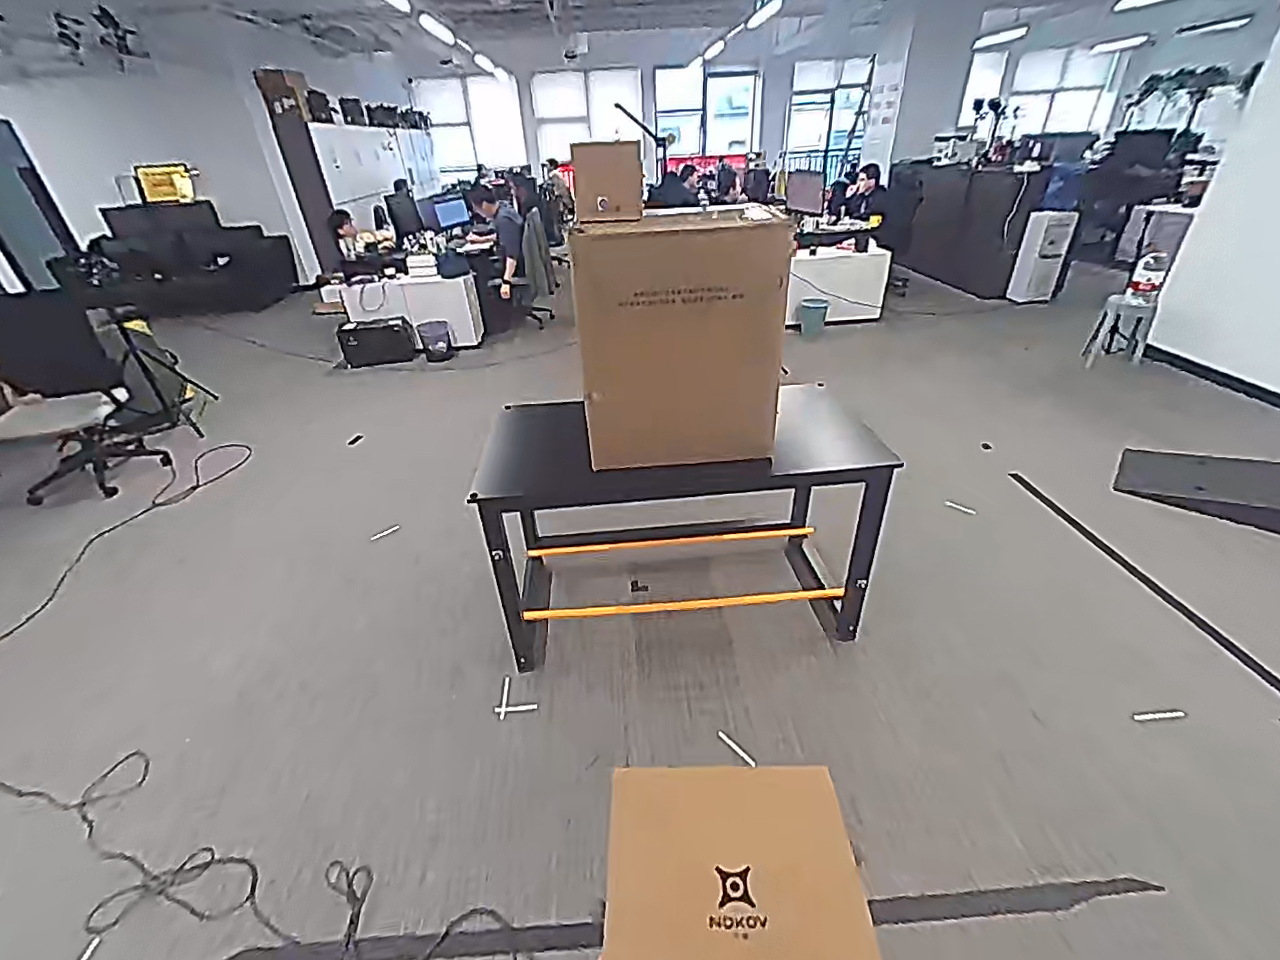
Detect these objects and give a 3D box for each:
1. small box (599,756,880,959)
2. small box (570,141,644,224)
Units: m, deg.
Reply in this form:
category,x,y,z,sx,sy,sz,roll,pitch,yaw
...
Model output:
category,x,y,z,sx,sy,sz,roll,pitch,yaw
small box,0.061,0.327,0.385,0.168,0.176,0.179,-2,33,2
small box,-0.078,-0.736,1.340,0.168,0.176,0.179,-5,32,-2
